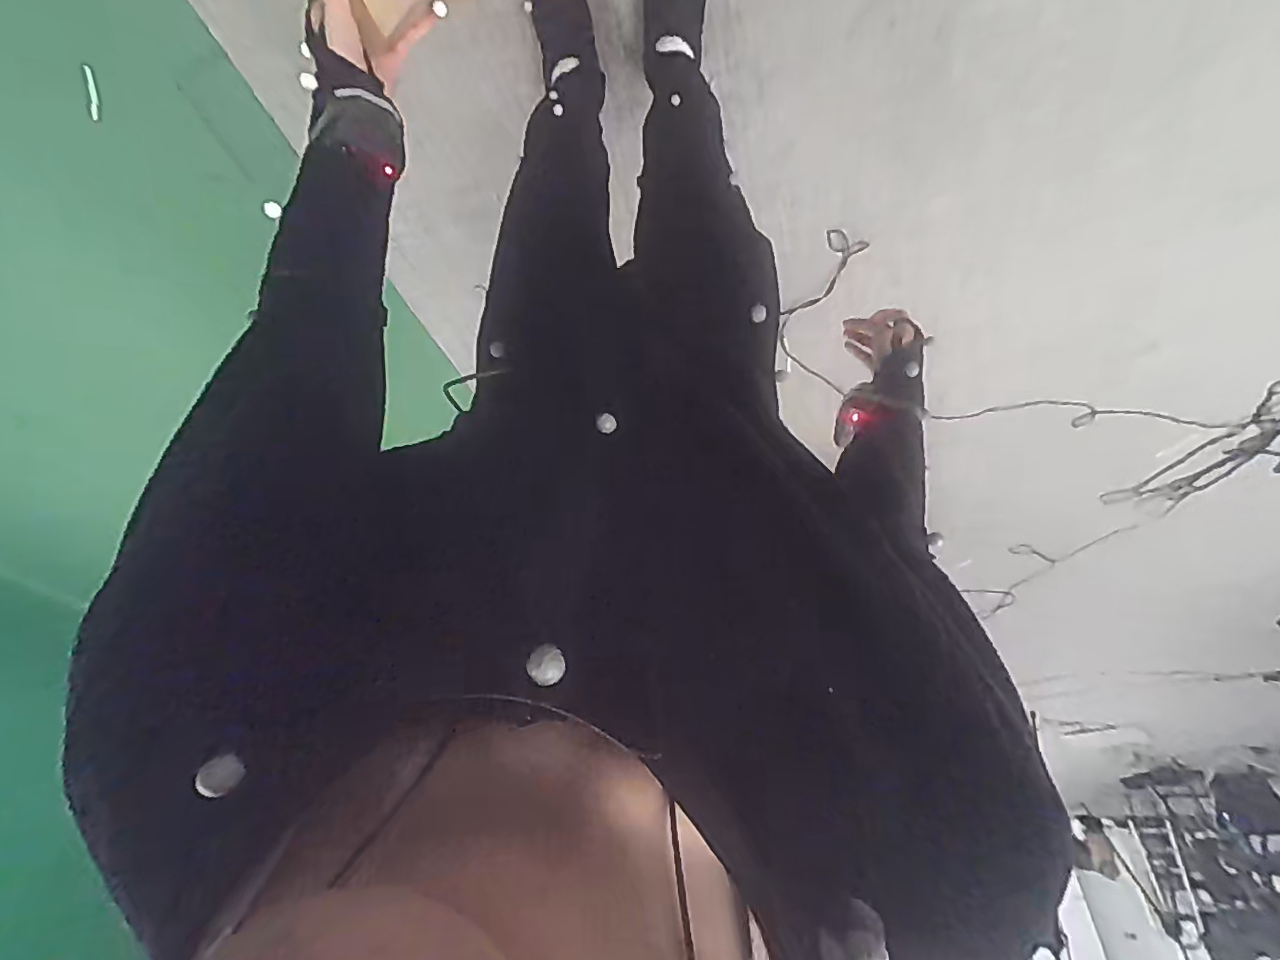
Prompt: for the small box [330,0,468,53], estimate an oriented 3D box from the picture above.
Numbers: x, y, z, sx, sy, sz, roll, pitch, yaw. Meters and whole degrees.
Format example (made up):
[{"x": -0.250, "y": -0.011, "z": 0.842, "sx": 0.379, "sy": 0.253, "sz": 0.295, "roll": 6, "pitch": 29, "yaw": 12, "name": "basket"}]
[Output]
[{"x": -0.193, "y": -0.507, "z": 0.440, "sx": 0.179, "sy": 0.176, "sz": 0.168, "roll": -6, "pitch": 137, "yaw": 39, "name": "small box"}]
